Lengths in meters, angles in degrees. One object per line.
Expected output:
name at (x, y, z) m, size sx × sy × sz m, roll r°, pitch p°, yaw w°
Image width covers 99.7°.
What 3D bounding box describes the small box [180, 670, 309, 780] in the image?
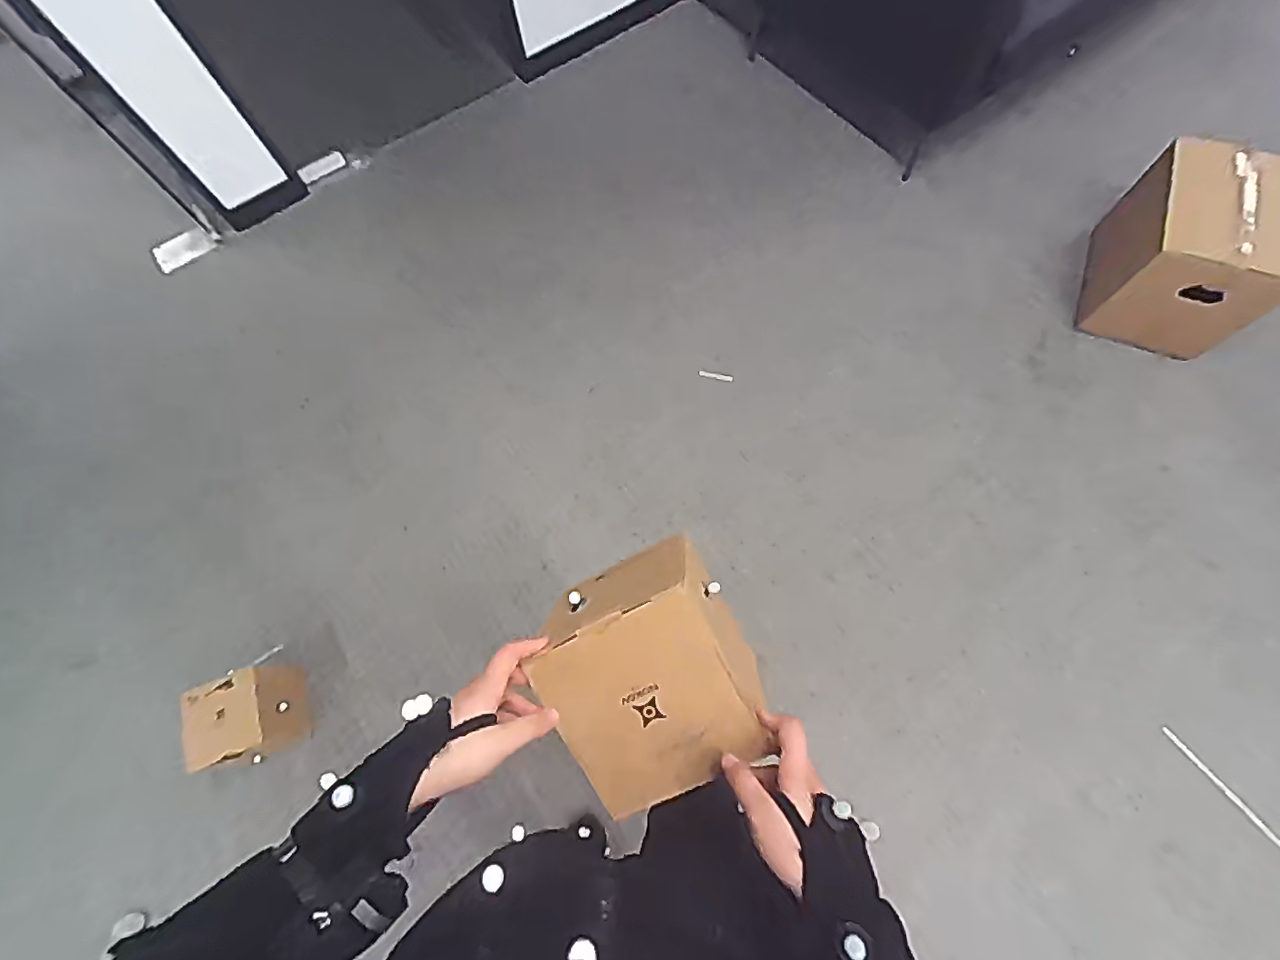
small box at (-0.895, 0.550, 1.238) m, size 0.168 × 0.176 × 0.179 m, roll -23°, pitch 70°, yaw -5°
